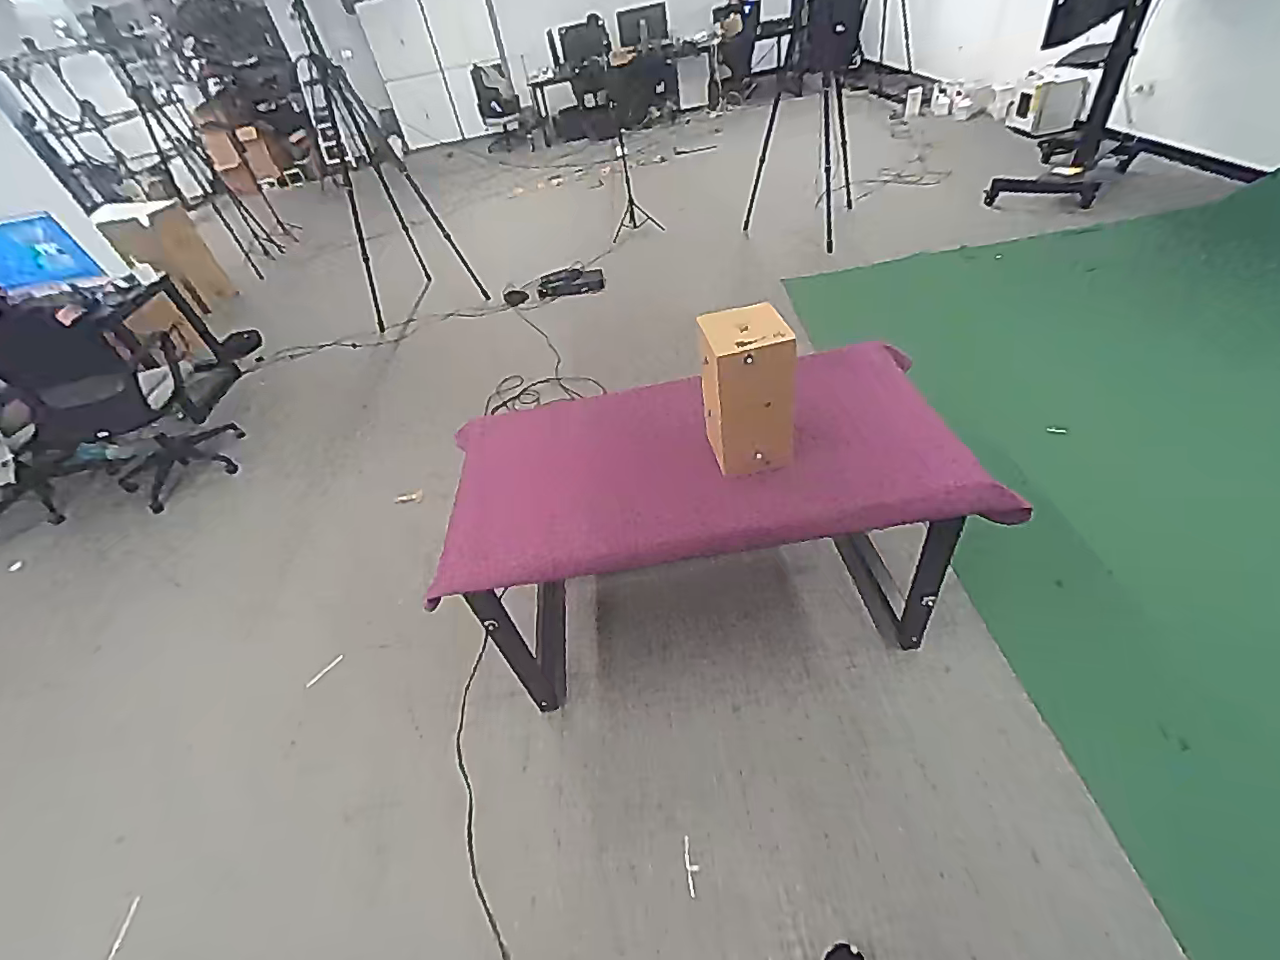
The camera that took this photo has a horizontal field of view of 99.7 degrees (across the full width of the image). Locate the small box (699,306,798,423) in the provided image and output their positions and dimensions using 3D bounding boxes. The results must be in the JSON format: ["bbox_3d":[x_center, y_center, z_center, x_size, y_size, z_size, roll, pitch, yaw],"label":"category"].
[{"bbox_3d":[0.229,-0.249,1.168,0.168,0.176,0.179,-13,42,0],"label":"small box"}]

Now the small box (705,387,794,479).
[{"bbox_3d":[0.254,-0.129,1.278,0.168,0.176,0.179,-12,43,1],"label":"small box"}]
